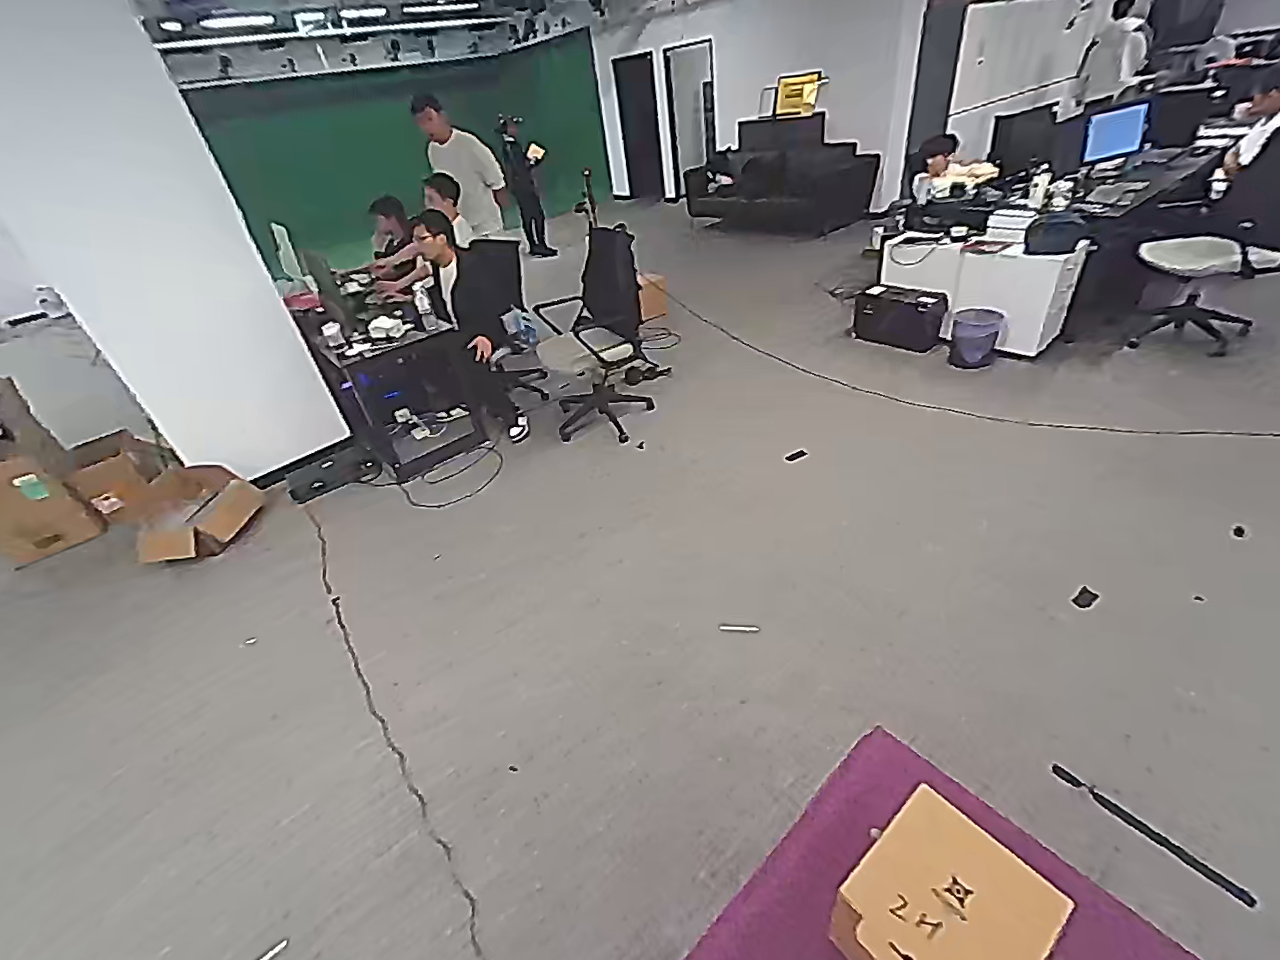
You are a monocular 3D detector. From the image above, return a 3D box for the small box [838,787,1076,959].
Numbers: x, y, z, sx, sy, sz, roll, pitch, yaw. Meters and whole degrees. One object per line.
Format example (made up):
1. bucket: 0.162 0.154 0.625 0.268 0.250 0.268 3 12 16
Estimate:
1. small box: 0.349 0.513 0.627 0.179 0.176 0.168 -30 40 -26
